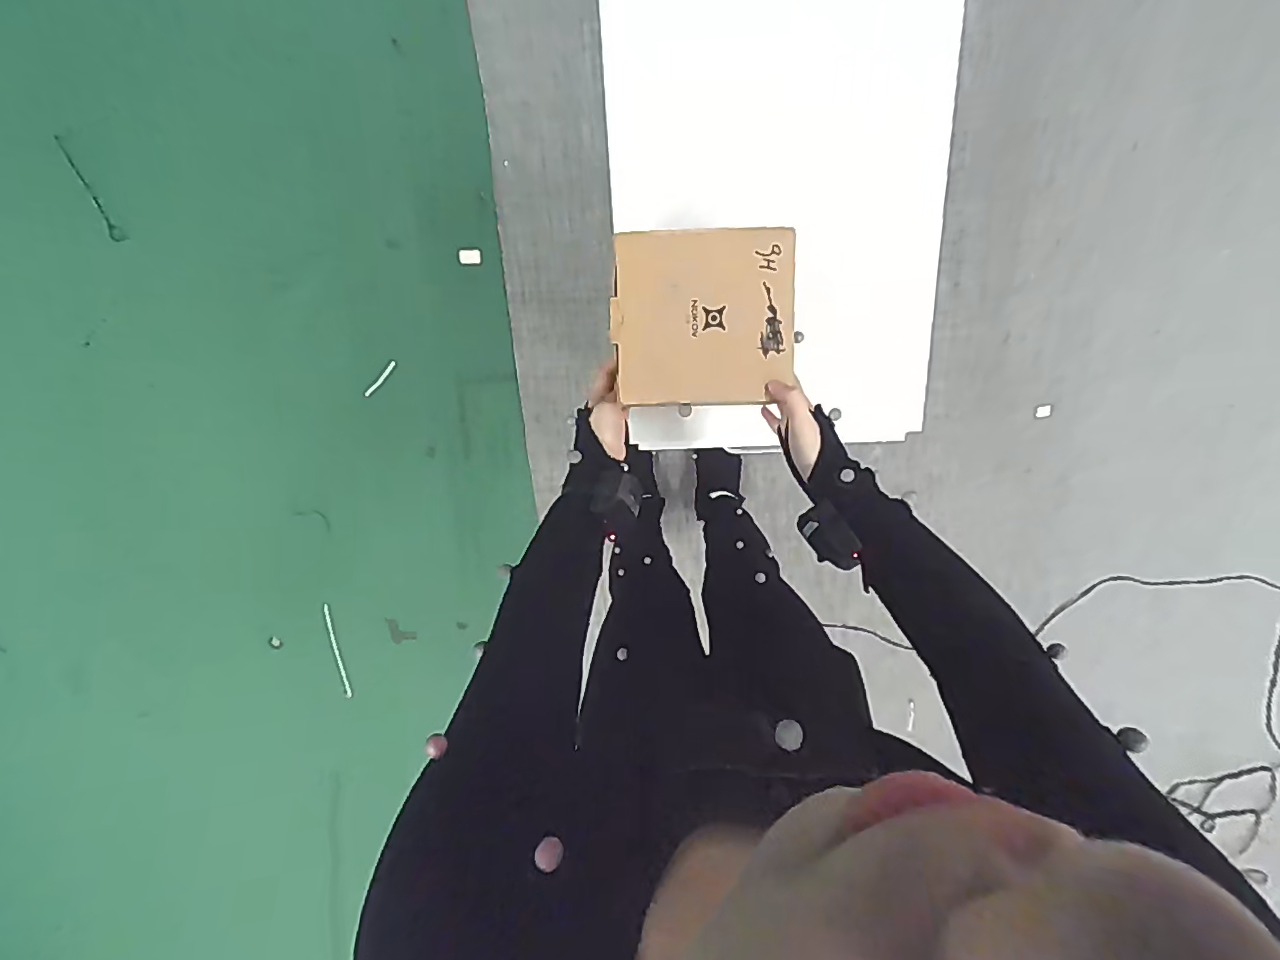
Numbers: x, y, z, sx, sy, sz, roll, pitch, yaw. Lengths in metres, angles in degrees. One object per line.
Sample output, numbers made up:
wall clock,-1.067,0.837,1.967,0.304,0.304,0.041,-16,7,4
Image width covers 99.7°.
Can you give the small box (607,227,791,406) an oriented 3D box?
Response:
small box,0.060,-0.167,0.601,0.179,0.176,0.168,-1,98,2
